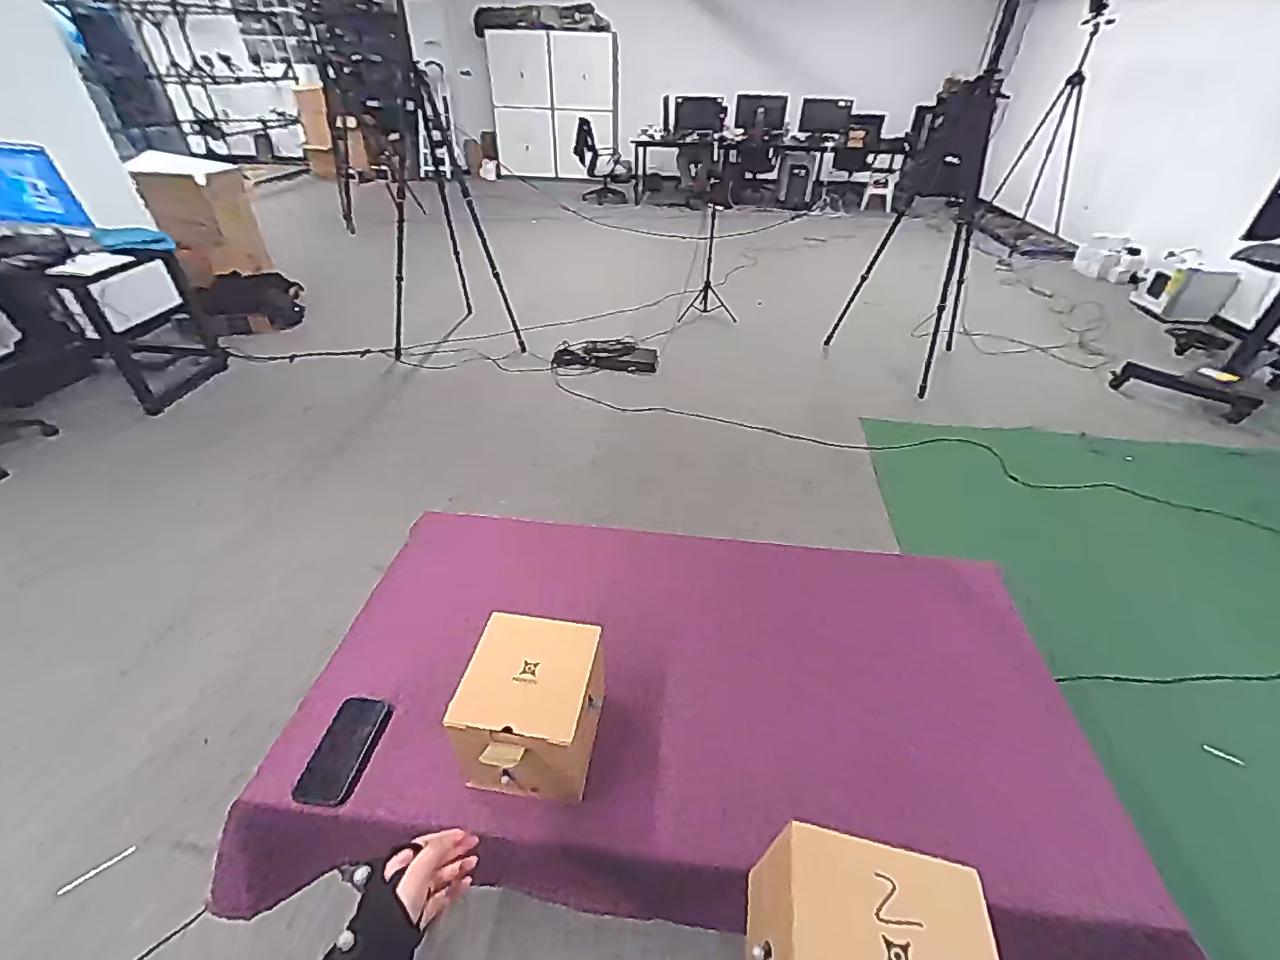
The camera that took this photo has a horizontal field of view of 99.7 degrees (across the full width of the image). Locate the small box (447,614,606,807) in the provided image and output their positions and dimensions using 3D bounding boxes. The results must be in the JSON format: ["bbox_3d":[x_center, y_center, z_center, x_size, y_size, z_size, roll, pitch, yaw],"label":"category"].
[{"bbox_3d":[-0.148,0.322,0.764,0.168,0.176,0.179,7,38,6],"label":"small box"}]
